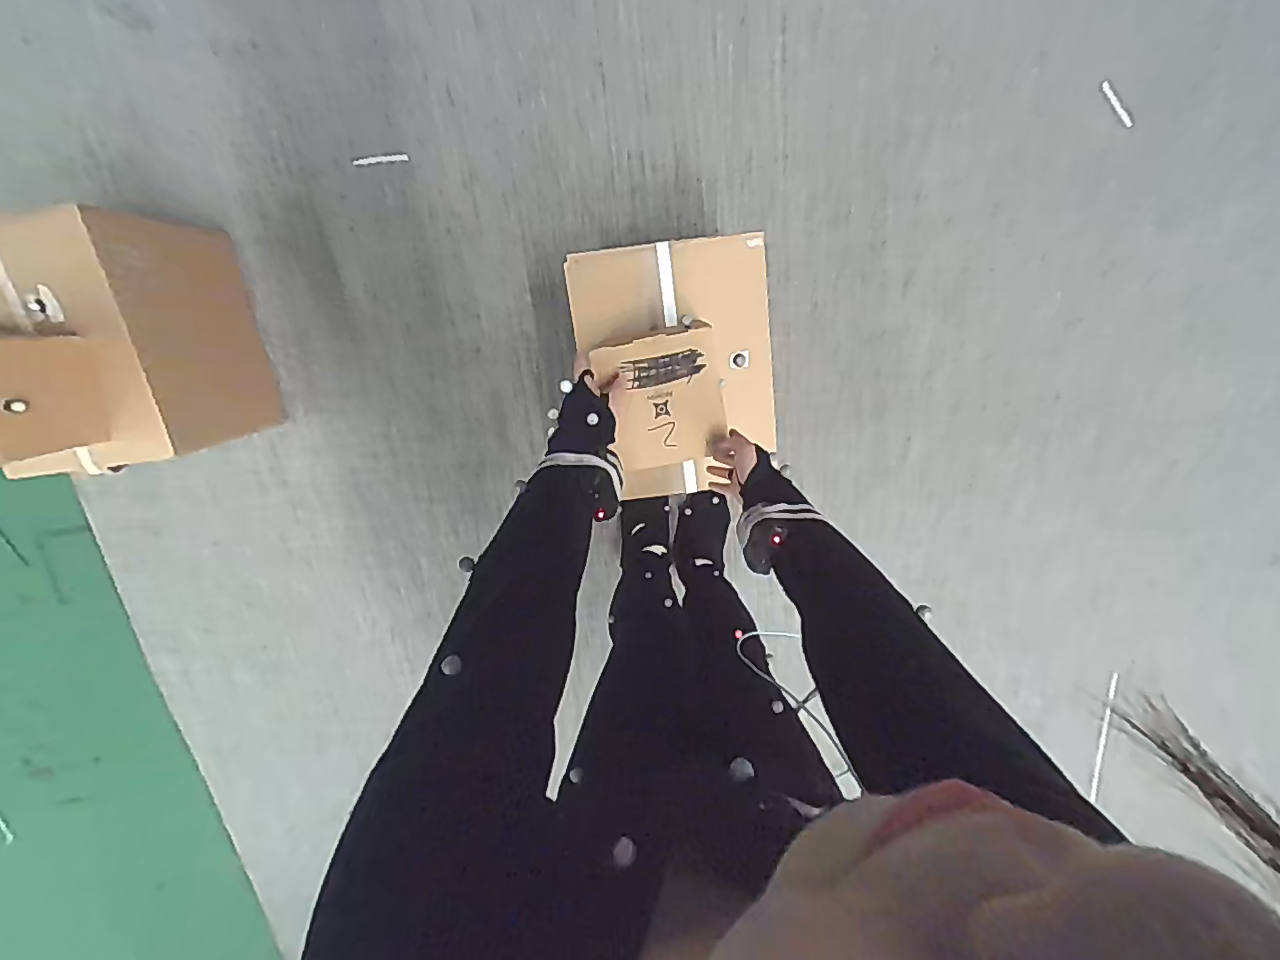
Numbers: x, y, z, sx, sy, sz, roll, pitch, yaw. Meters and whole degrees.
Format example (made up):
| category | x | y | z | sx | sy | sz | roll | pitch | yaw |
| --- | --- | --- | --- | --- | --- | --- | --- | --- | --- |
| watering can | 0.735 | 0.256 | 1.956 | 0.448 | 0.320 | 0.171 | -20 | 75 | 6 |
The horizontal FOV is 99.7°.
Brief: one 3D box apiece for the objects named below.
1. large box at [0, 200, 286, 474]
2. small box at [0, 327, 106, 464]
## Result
| category | x | y | z | sx | sy | sz | roll | pitch | yaw |
| --- | --- | --- | --- | --- | --- | --- | --- | --- | --- |
| large box | -0.963 | -0.258 | 1.017 | 0.320 | 0.320 | 0.408 | -7 | 107 | 2 |
| small box | -0.965 | -0.134 | 0.802 | 0.168 | 0.176 | 0.179 | 4 | 108 | 0 |
